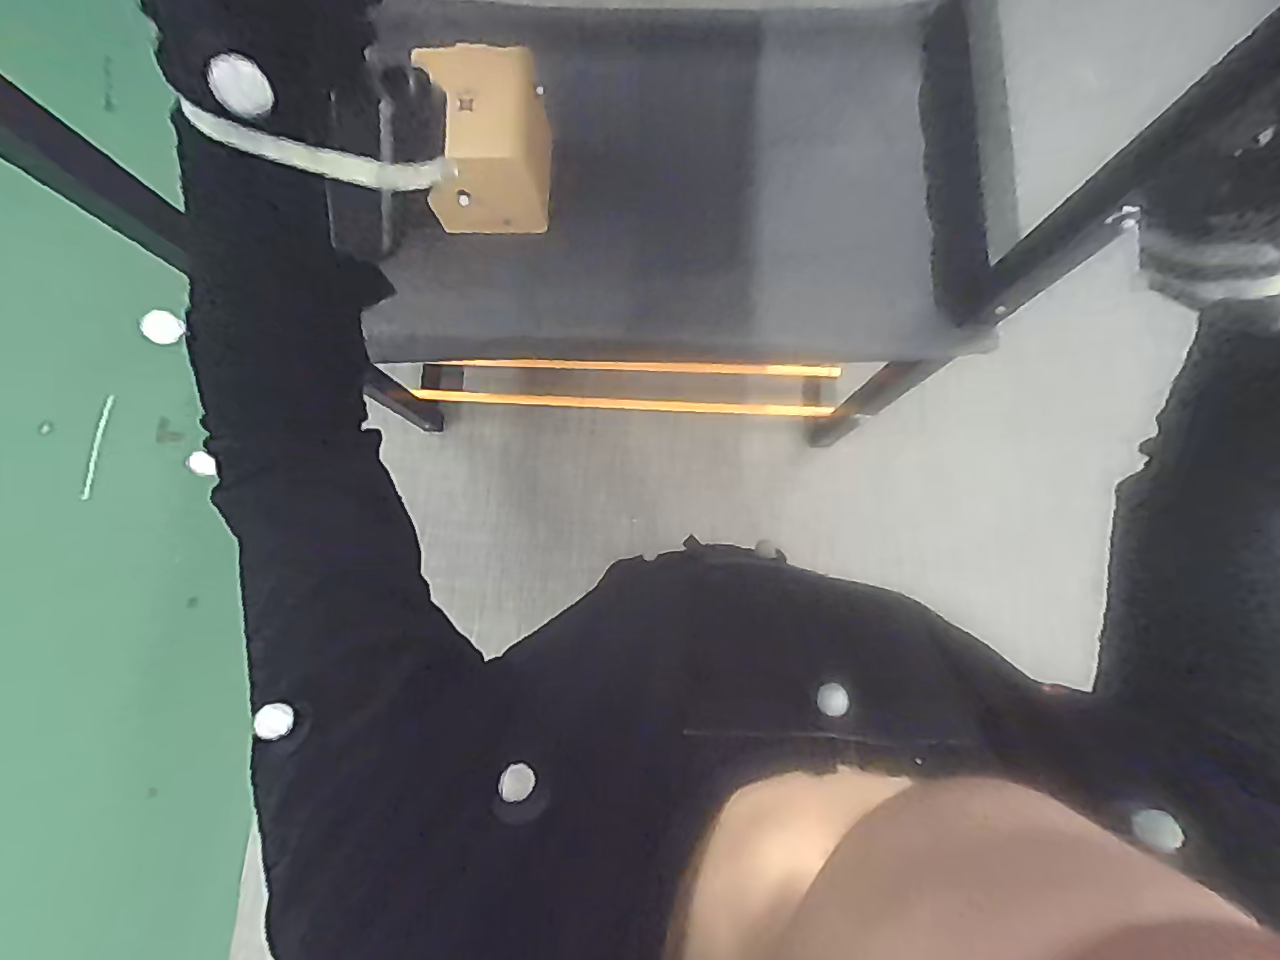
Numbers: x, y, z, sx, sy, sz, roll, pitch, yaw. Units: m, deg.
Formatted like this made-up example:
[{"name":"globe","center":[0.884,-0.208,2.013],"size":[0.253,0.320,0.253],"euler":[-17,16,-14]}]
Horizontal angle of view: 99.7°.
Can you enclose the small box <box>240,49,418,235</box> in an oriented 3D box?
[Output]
[{"name":"small box","center":[-0.450,-0.499,0.813],"size":[0.168,0.176,0.179],"euler":[0,80,2]}]
